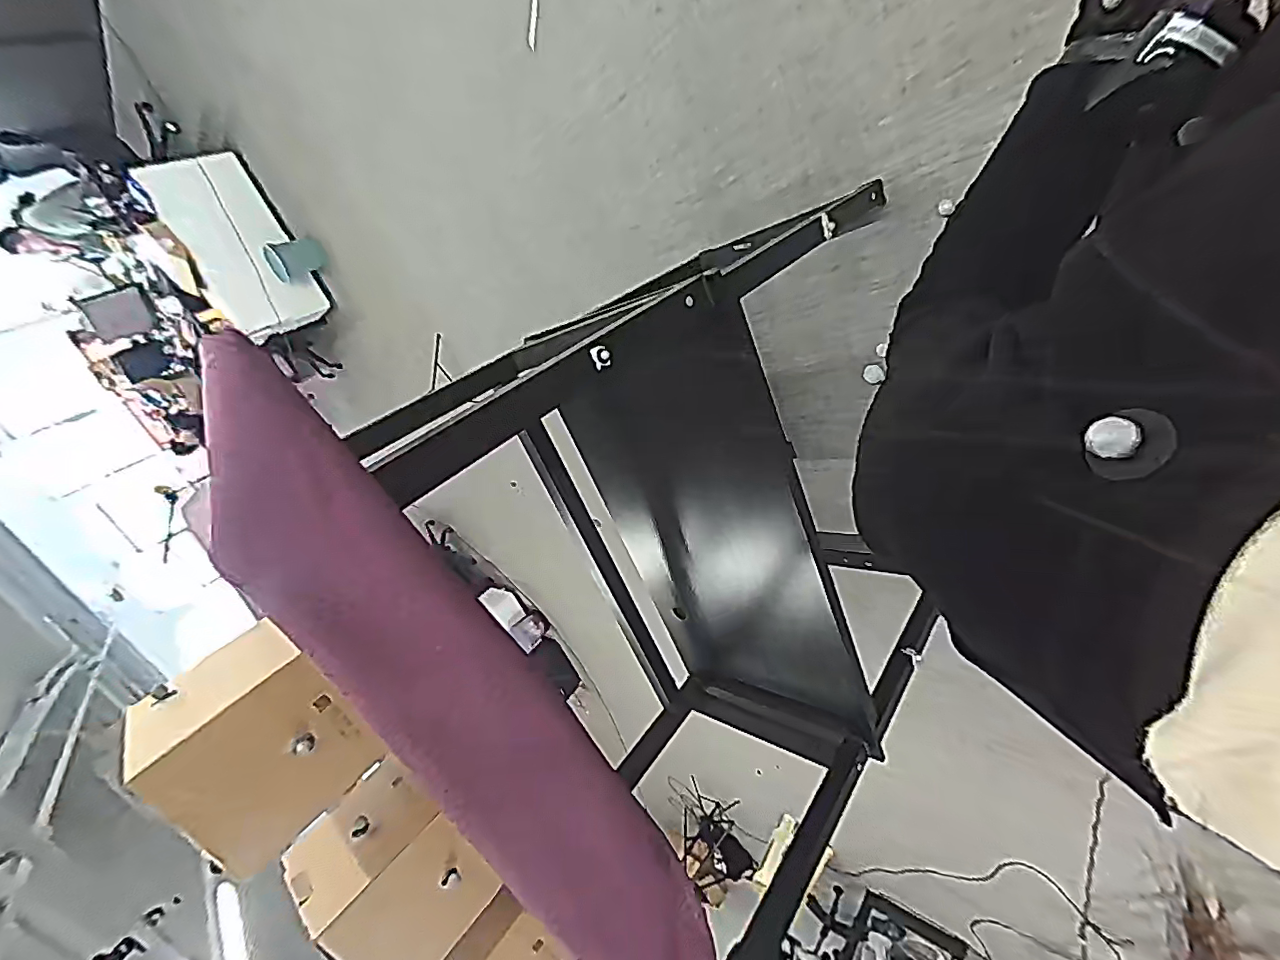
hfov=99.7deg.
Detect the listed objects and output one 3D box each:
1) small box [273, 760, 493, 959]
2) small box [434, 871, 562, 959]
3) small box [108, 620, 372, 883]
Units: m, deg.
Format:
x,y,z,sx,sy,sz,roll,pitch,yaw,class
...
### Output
x,y,z,sx,sy,sz,roll,pitch,yaw,class
-0.328,0.510,0.705,0.168,0.176,0.179,6,126,46,small box
-0.240,0.706,0.795,0.179,0.176,0.168,-3,120,50,small box
-0.437,0.284,0.608,0.179,0.176,0.168,5,127,46,small box
